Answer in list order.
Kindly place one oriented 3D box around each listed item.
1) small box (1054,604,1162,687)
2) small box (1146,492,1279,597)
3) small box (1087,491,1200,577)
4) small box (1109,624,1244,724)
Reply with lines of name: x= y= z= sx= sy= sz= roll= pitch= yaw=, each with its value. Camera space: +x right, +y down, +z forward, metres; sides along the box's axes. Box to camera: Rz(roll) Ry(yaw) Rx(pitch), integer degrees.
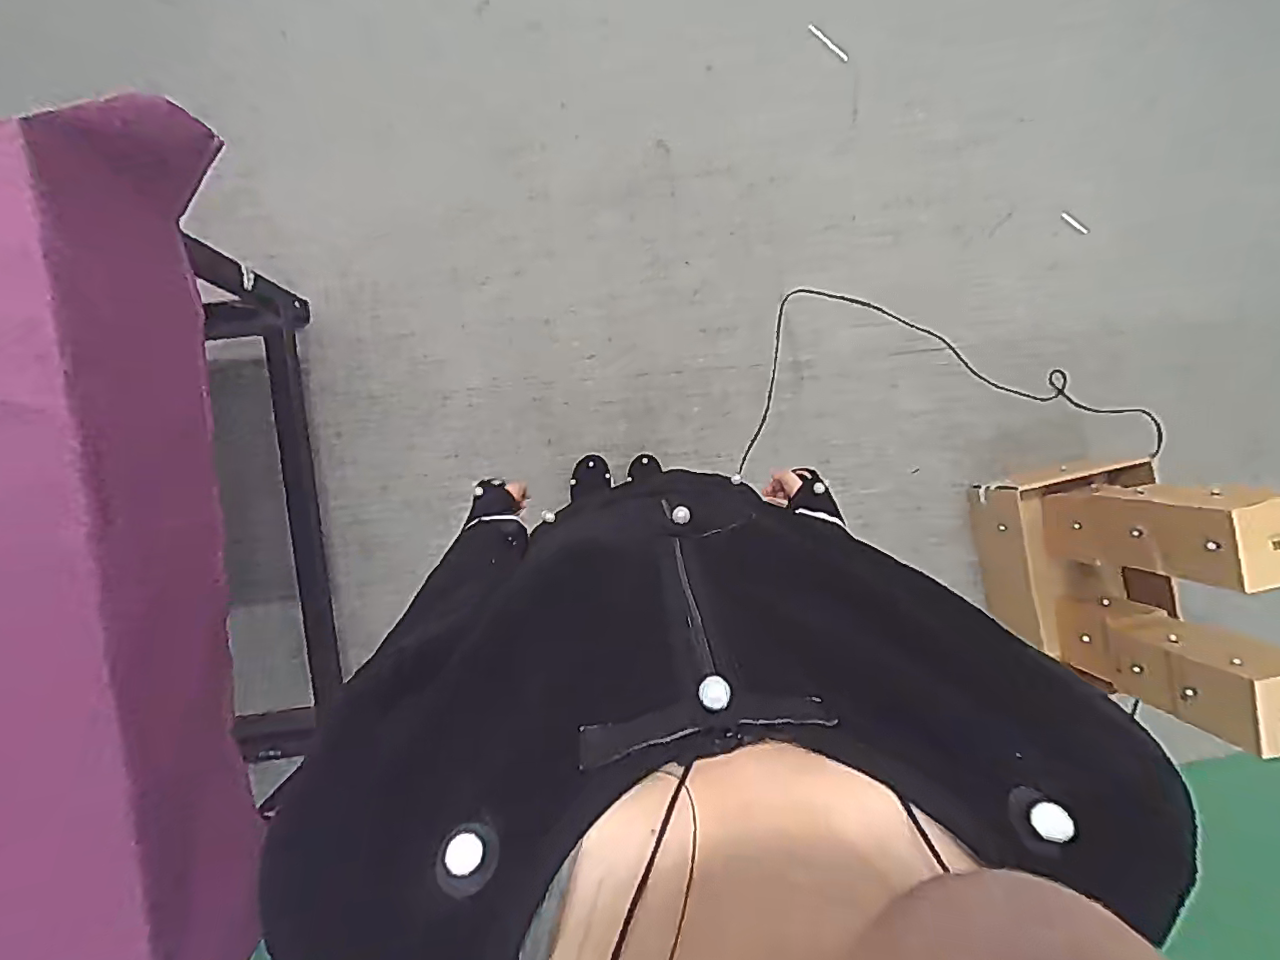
small box: x=1.285 y=0.447 z=1.486 sx=0.168 sy=0.176 sz=0.179 roll=-9 pitch=92 yaw=-3
small box: x=1.241 y=0.129 z=1.148 sx=0.168 sy=0.176 sz=0.179 roll=-13 pitch=92 yaw=-1
small box: x=1.232 y=0.123 z=1.310 sx=0.168 sy=0.176 sz=0.179 roll=-8 pitch=93 yaw=-2
small box: x=1.296 y=0.466 z=1.322 sx=0.179 sy=0.176 sz=0.168 roll=-9 pitch=93 yaw=-4
